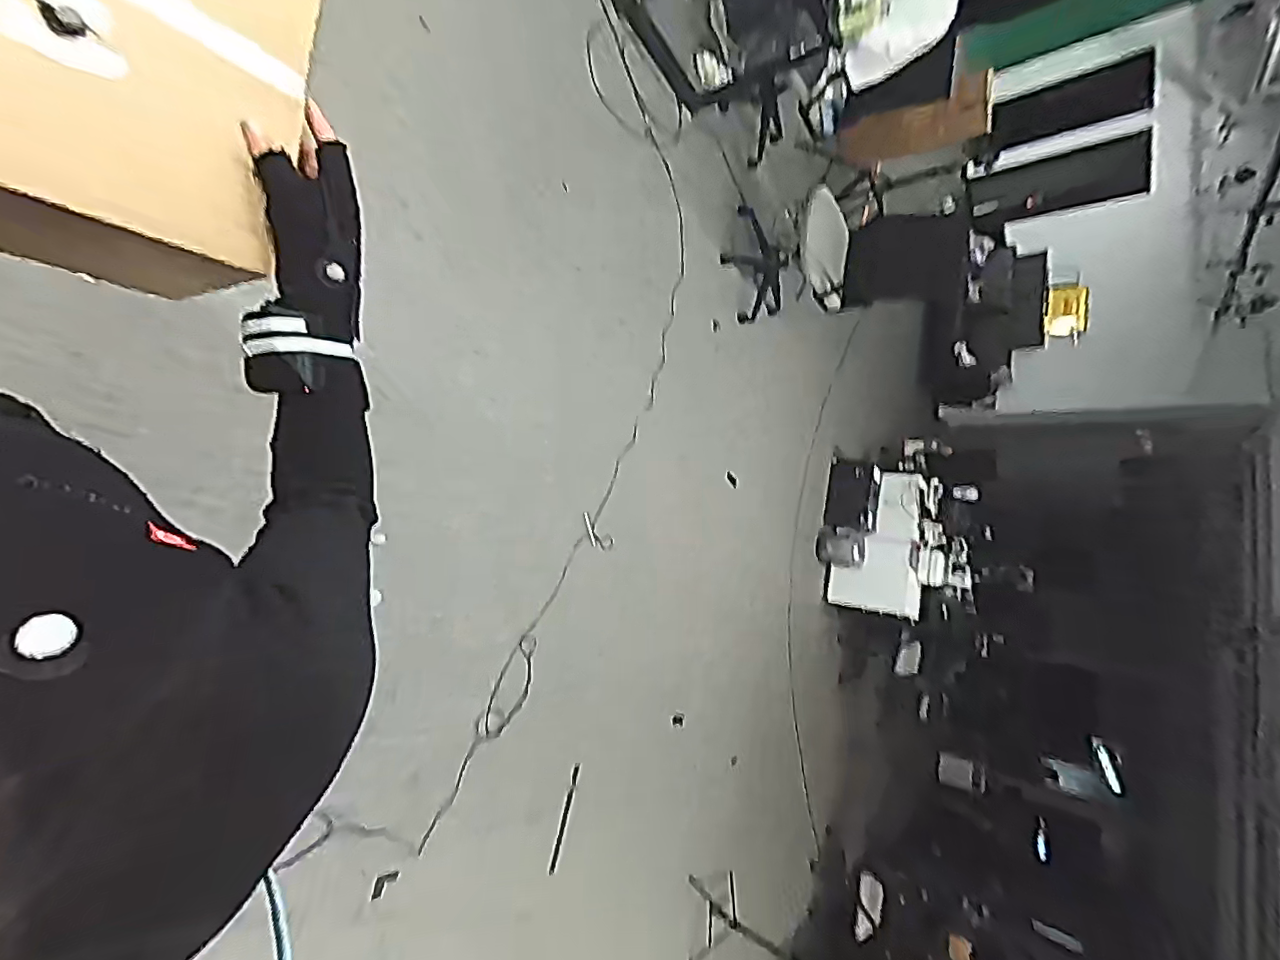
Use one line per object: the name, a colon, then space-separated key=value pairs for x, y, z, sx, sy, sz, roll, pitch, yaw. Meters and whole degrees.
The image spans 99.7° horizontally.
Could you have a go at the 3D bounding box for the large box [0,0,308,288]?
large box: x=-0.531 y=-0.368 z=0.391 sx=0.408 sy=0.320 sz=0.320 roll=8 pitch=92 yaw=-54
